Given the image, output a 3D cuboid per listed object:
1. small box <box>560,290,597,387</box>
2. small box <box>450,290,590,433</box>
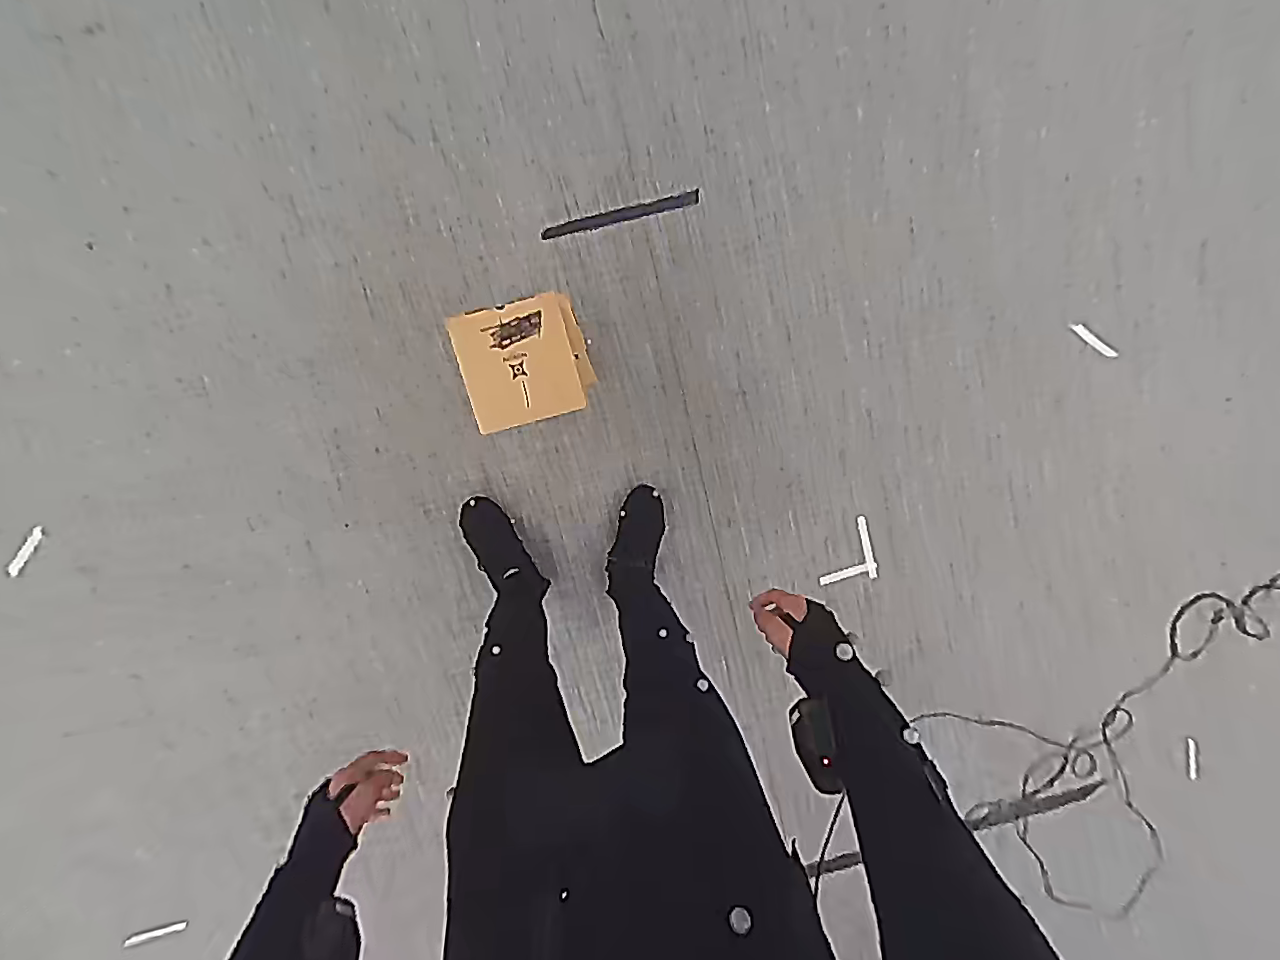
[{"bbox_3d":[-0.186,-0.237,1.019,0.179,0.176,0.168,-19,101,-2],"label":"small box"},{"bbox_3d":[-0.180,-0.183,0.862,0.168,0.176,0.179,-15,101,-1],"label":"small box"}]
